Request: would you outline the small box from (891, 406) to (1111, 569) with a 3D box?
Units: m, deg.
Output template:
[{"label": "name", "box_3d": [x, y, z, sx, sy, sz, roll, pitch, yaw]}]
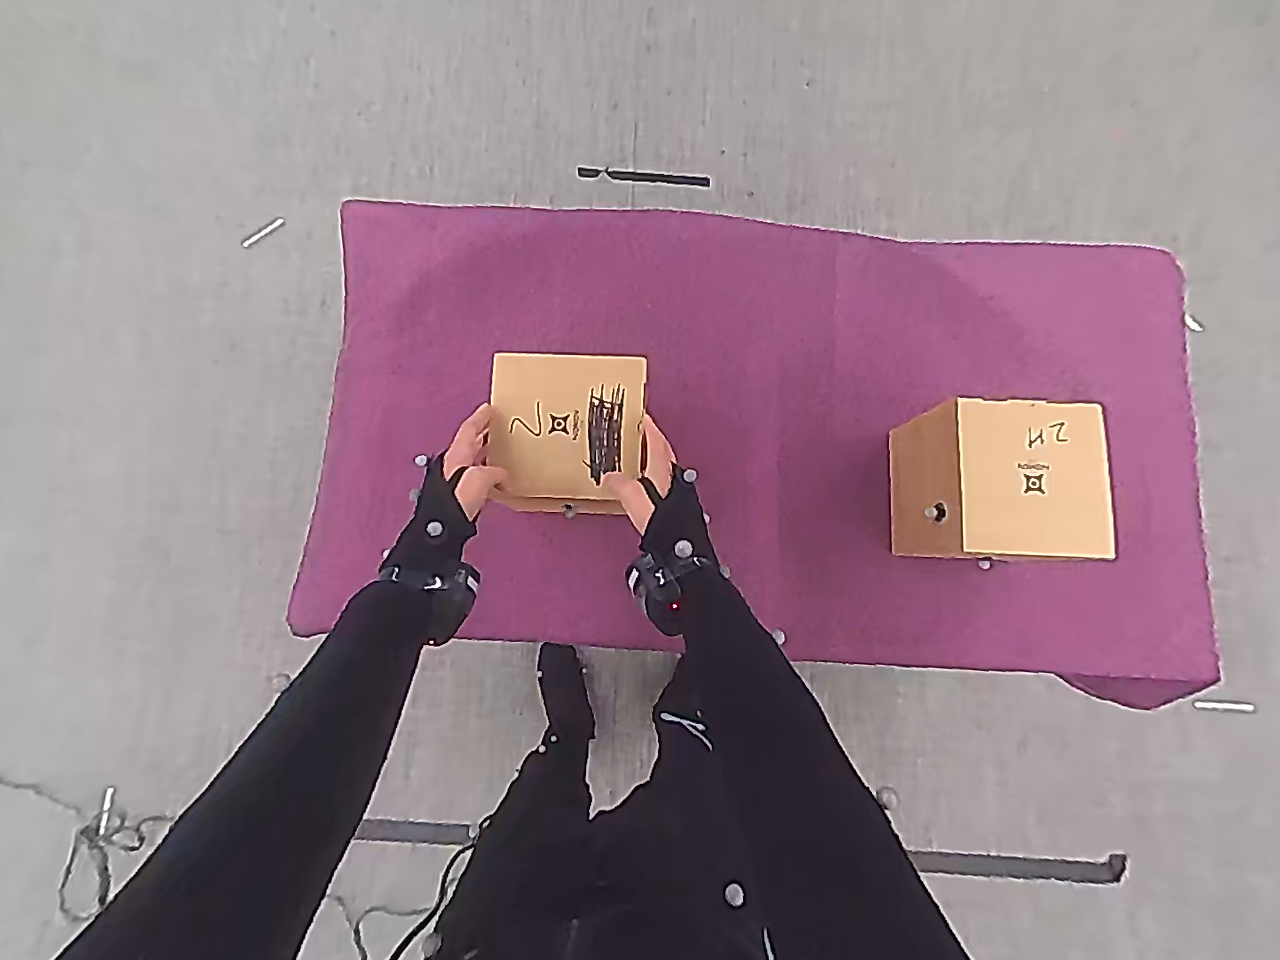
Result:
[{"label": "small box", "box_3d": [0.433, 0.018, 0.676, 0.168, 0.176, 0.179, 3, 81, 0]}]
